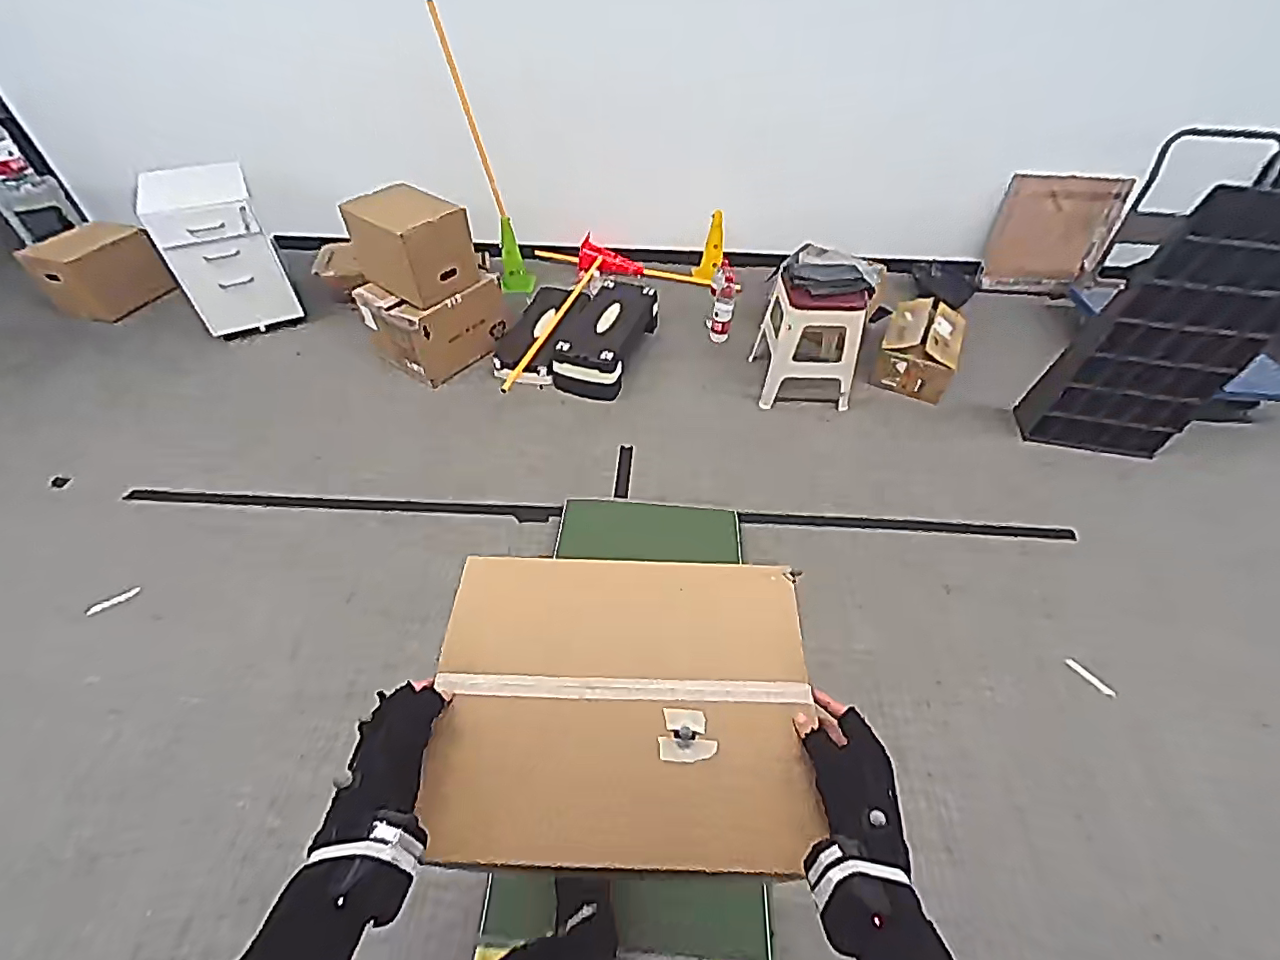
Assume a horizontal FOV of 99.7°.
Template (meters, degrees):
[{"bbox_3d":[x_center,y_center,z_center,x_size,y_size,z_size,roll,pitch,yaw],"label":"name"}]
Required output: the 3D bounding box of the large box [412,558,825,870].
[{"bbox_3d":[-0.023,0.318,0.718,0.408,0.320,0.320,2,52,0],"label":"large box"}]
